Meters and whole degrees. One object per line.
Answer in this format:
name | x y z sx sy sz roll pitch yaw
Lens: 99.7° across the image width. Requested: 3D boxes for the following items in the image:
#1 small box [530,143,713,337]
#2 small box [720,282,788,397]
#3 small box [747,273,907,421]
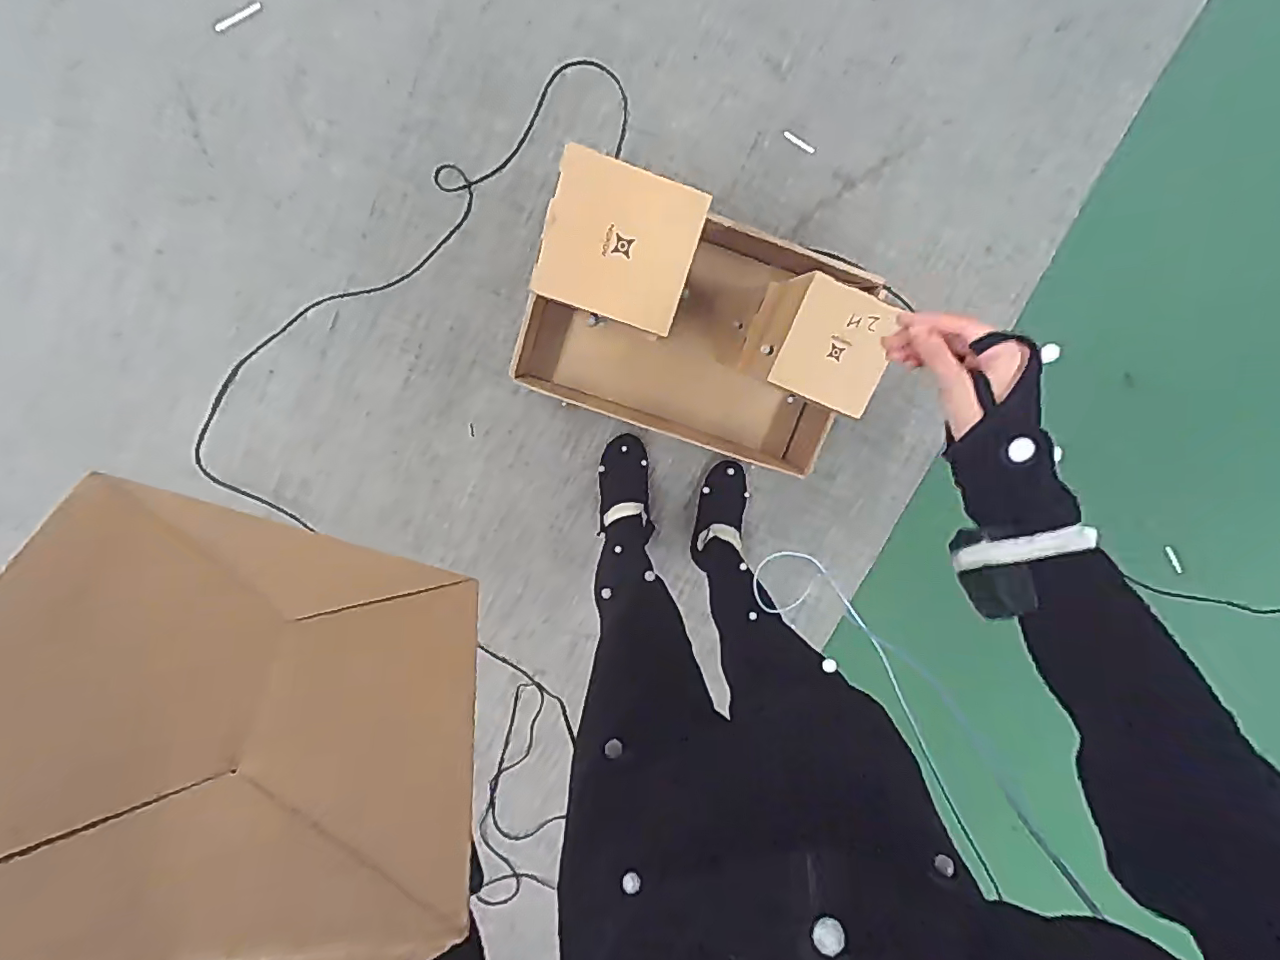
small box | -0.025 -0.296 0.701 0.179 0.176 0.168 18 104 -6
small box | 0.274 -0.263 1.057 0.179 0.176 0.168 22 102 -7
small box | 0.294 -0.217 0.899 0.168 0.176 0.179 22 101 -9
